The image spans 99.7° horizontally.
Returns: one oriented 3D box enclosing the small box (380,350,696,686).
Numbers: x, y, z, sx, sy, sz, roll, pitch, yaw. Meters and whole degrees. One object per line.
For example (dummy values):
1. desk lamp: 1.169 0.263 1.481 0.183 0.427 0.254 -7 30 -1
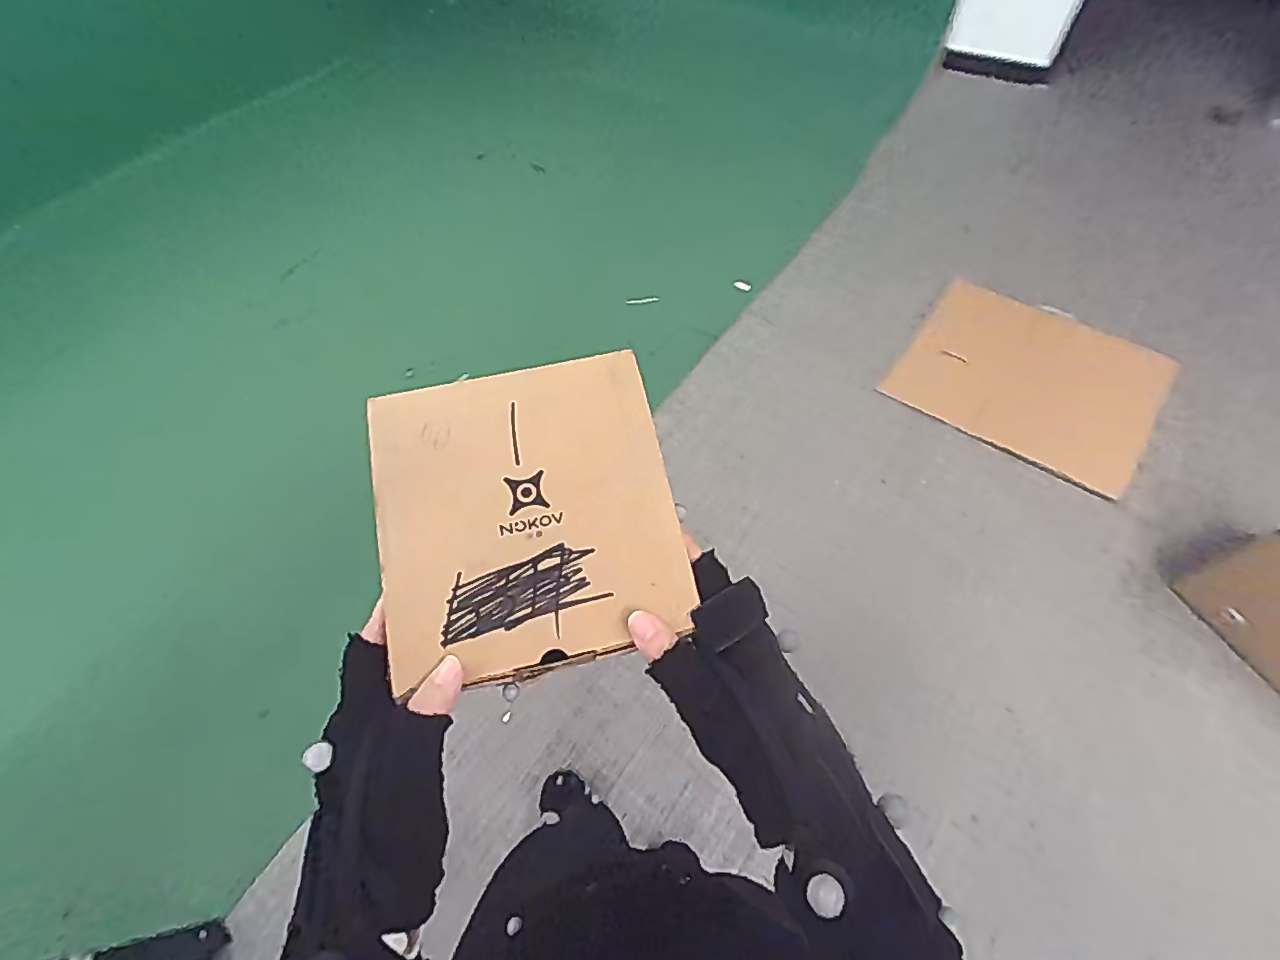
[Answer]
1. small box: -0.064 0.037 0.389 0.168 0.176 0.179 -11 71 -5
